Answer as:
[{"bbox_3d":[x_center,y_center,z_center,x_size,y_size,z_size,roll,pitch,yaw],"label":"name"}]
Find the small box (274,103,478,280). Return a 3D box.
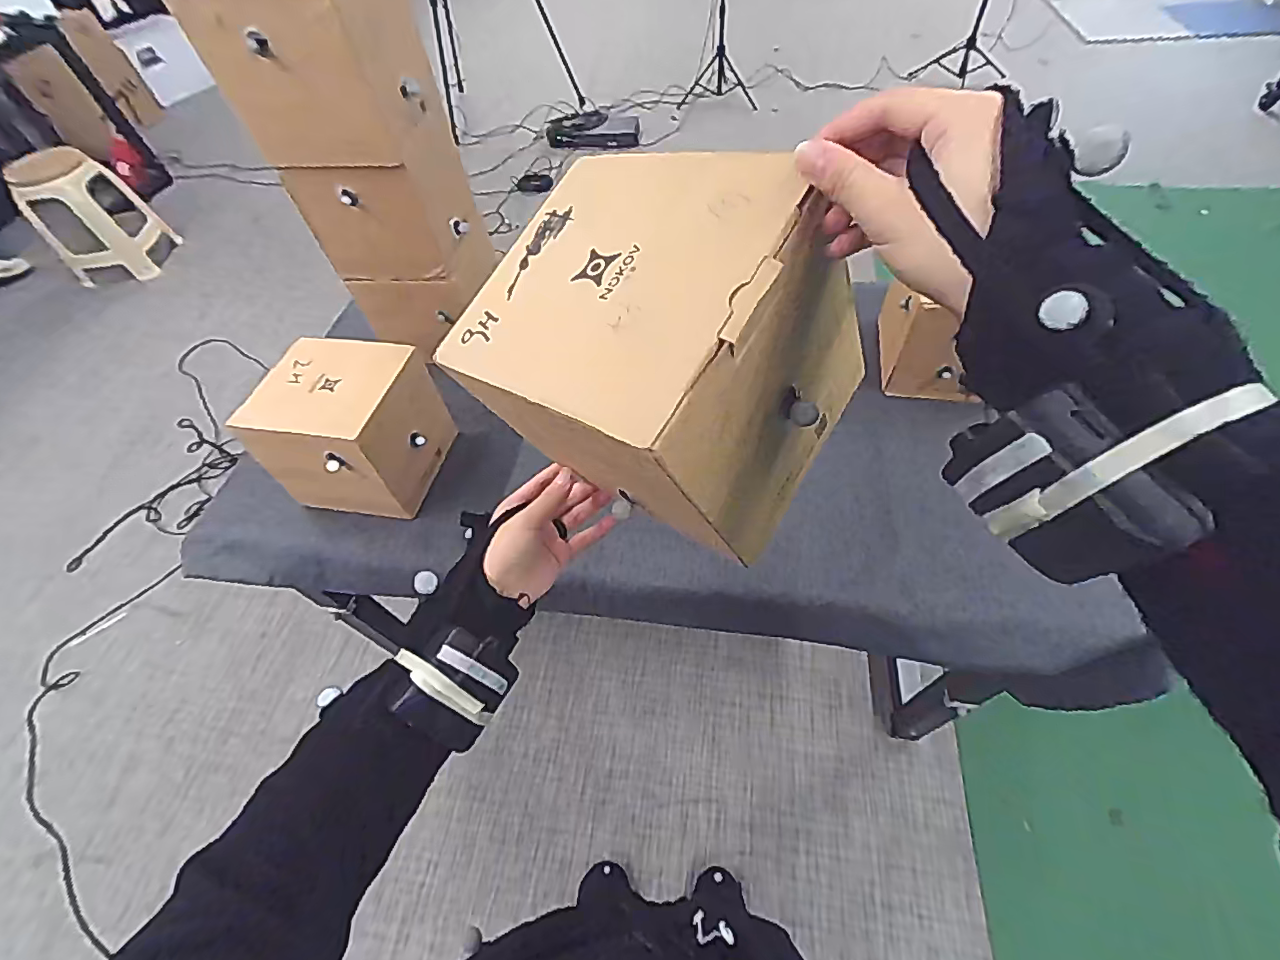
[{"bbox_3d":[-0.354,-0.403,0.764,0.179,0.176,0.168,2,58,5],"label":"small box"}]

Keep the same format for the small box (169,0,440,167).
[{"bbox_3d":[-0.362,-0.486,0.622,0.179,0.176,0.168,4,58,6],"label":"small box"}]

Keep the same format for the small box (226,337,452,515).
[{"bbox_3d":[-0.382,-0.068,0.729,0.179,0.176,0.168,6,53,9],"label":"small box"}]

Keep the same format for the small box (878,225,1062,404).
[{"bbox_3d":[0.450,-0.235,0.774,0.168,0.176,0.179,7,58,10],"label":"small box"}]

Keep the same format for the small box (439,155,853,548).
[{"bbox_3d":[0.019,-0.073,0.351,0.179,0.176,0.168,26,78,34],"label":"small box"}]
